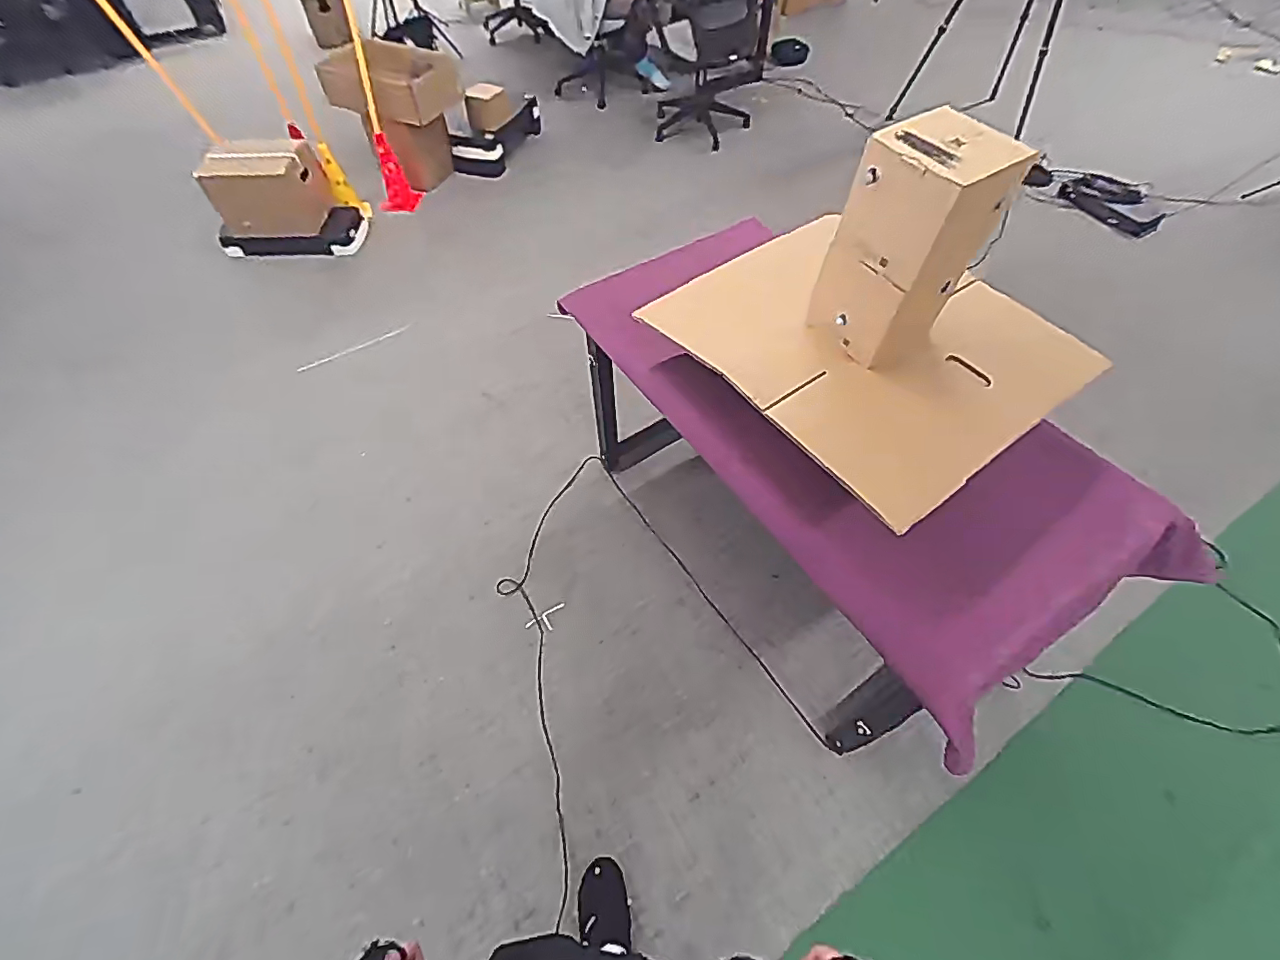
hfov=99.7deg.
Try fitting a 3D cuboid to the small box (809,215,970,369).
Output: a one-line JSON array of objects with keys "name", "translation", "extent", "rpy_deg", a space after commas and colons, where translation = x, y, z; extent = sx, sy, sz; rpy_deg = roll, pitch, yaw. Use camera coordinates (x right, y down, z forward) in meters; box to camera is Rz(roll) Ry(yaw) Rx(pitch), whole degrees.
[{"name": "small box", "translation": [0.436, -0.335, 0.975], "extent": [0.179, 0.176, 0.168], "rpy_deg": [-31, 62, -18]}]
